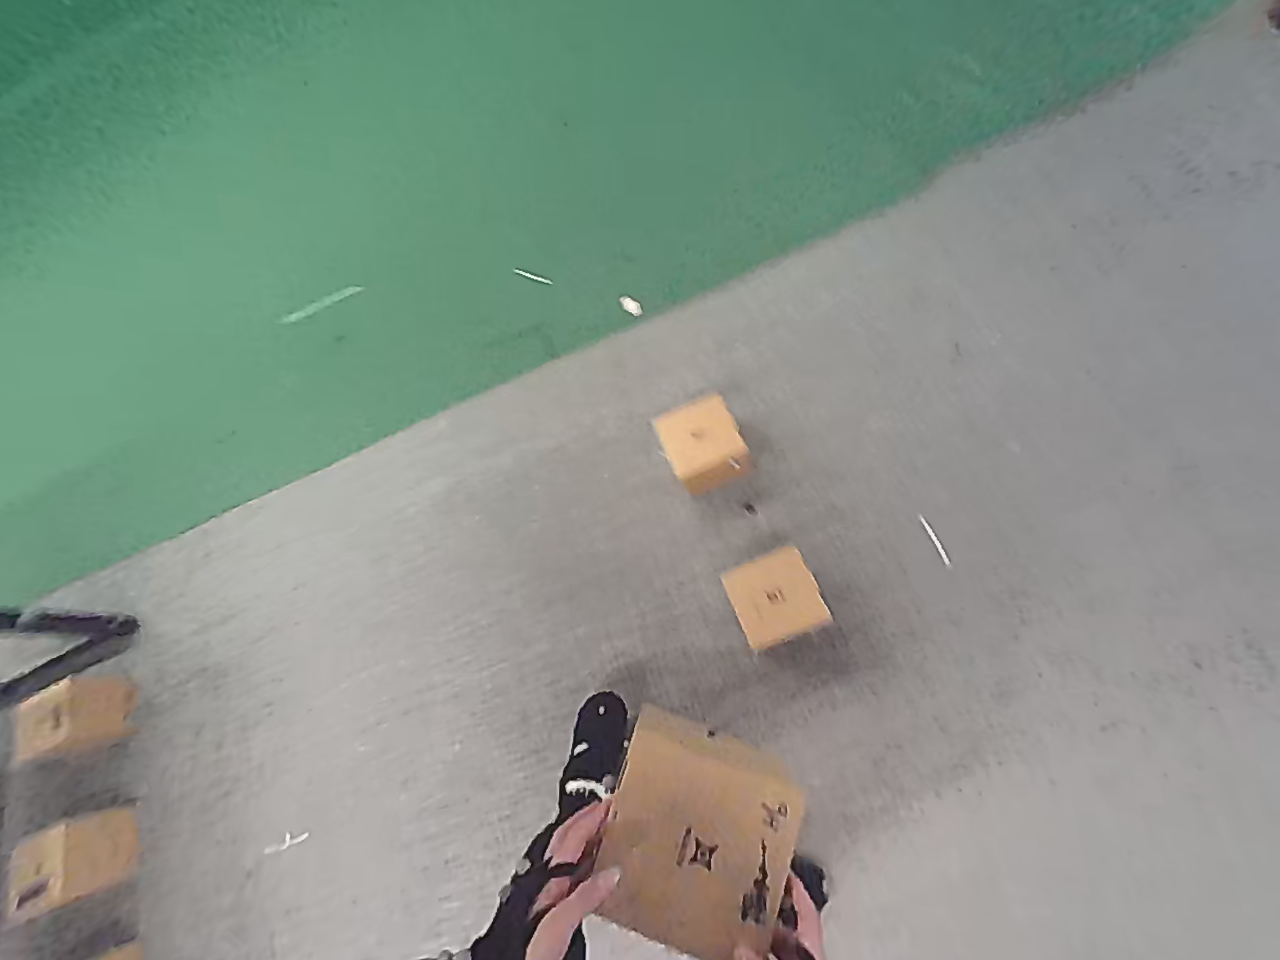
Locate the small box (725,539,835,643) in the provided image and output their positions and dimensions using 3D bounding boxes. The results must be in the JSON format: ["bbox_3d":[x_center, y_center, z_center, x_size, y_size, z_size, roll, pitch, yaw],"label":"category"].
[{"bbox_3d":[0.301,0.247,1.183,0.179,0.176,0.168,-23,67,6],"label":"small box"}]

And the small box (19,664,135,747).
[{"bbox_3d":[-1.582,0.629,1.529,0.179,0.176,0.168,-26,67,5],"label":"small box"}]

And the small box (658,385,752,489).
[{"bbox_3d":[0.166,-0.099,1.332,0.179,0.176,0.168,-23,68,5],"label":"small box"}]
